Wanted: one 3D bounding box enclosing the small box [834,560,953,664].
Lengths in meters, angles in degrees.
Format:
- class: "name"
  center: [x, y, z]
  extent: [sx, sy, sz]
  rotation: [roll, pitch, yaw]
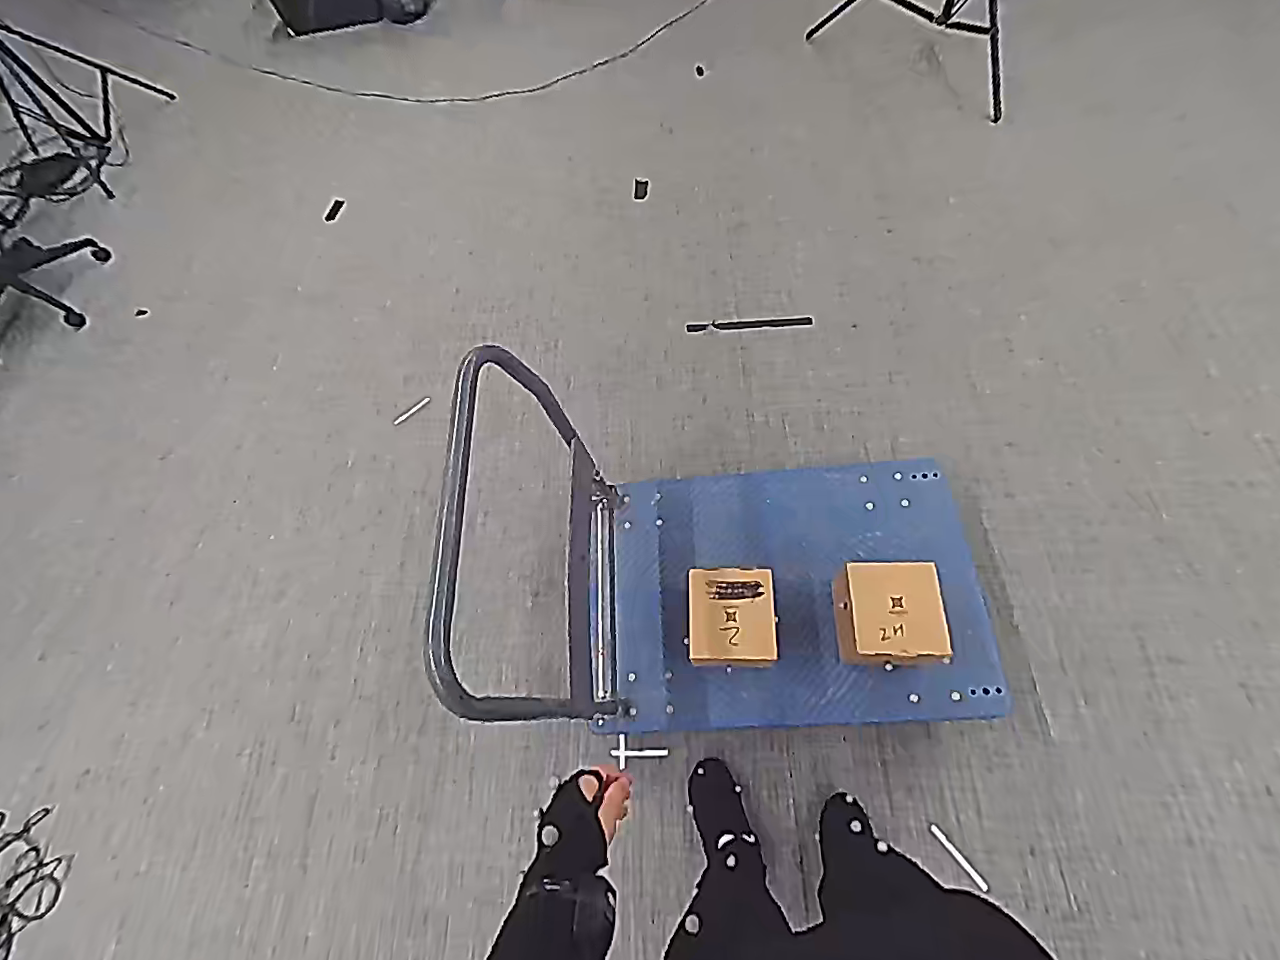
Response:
- class: "small box"
  center: [0.497, 0.269, 1.090]
  extent: [0.168, 0.176, 0.179]
  rotation: [-2, 66, 8]
